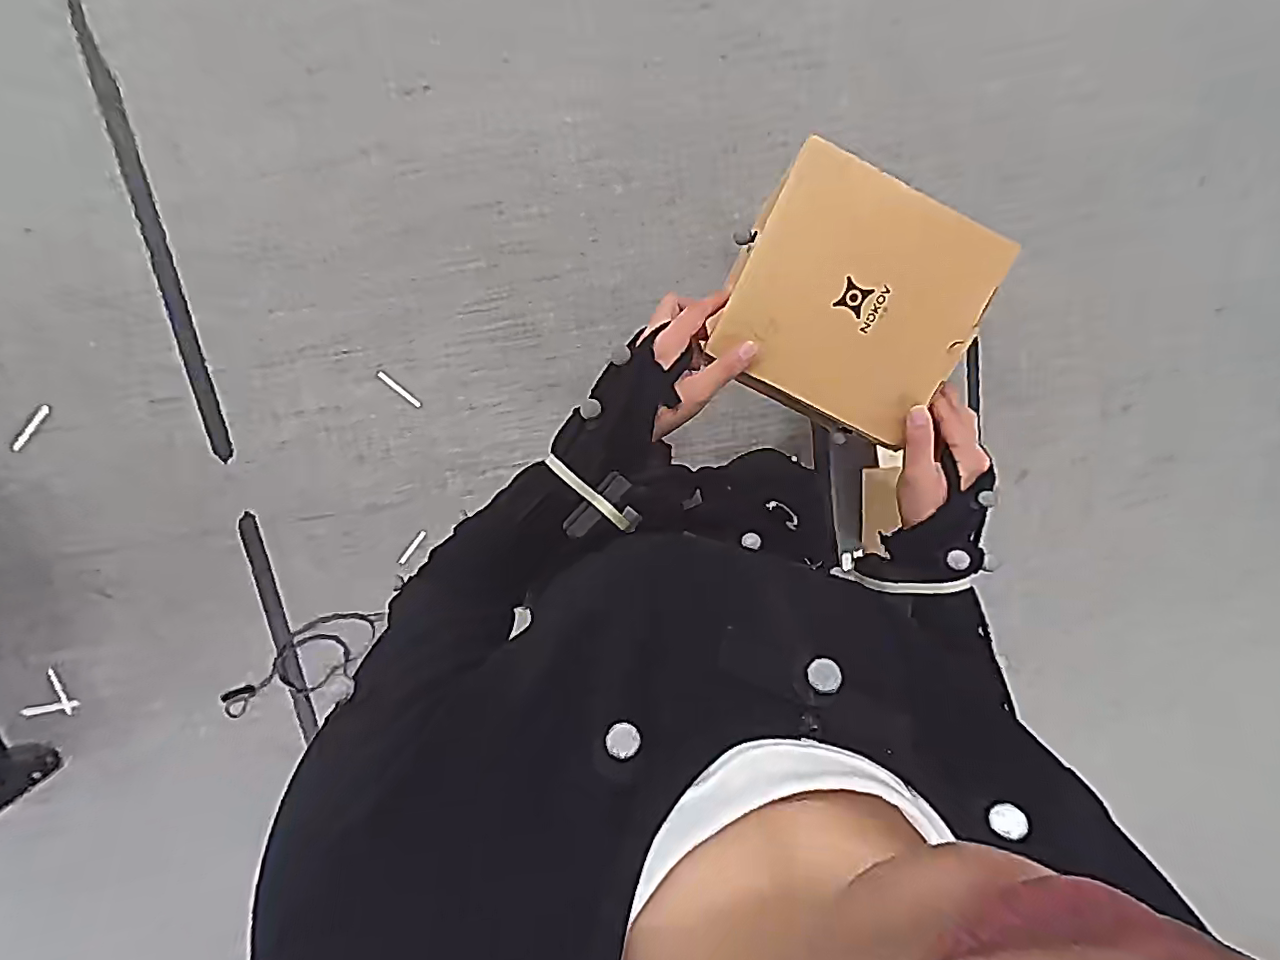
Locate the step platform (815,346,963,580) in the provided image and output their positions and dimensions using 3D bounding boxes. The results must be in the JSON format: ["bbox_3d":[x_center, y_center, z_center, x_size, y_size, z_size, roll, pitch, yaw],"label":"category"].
[{"bbox_3d":[0.563,-0.110,1.256,0.286,0.204,0.684,-9,102,-1],"label":"step platform"}]

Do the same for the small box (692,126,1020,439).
[{"bbox_3d":[0.157,-0.151,0.466,0.179,0.176,0.168,24,101,-5],"label":"small box"}]
